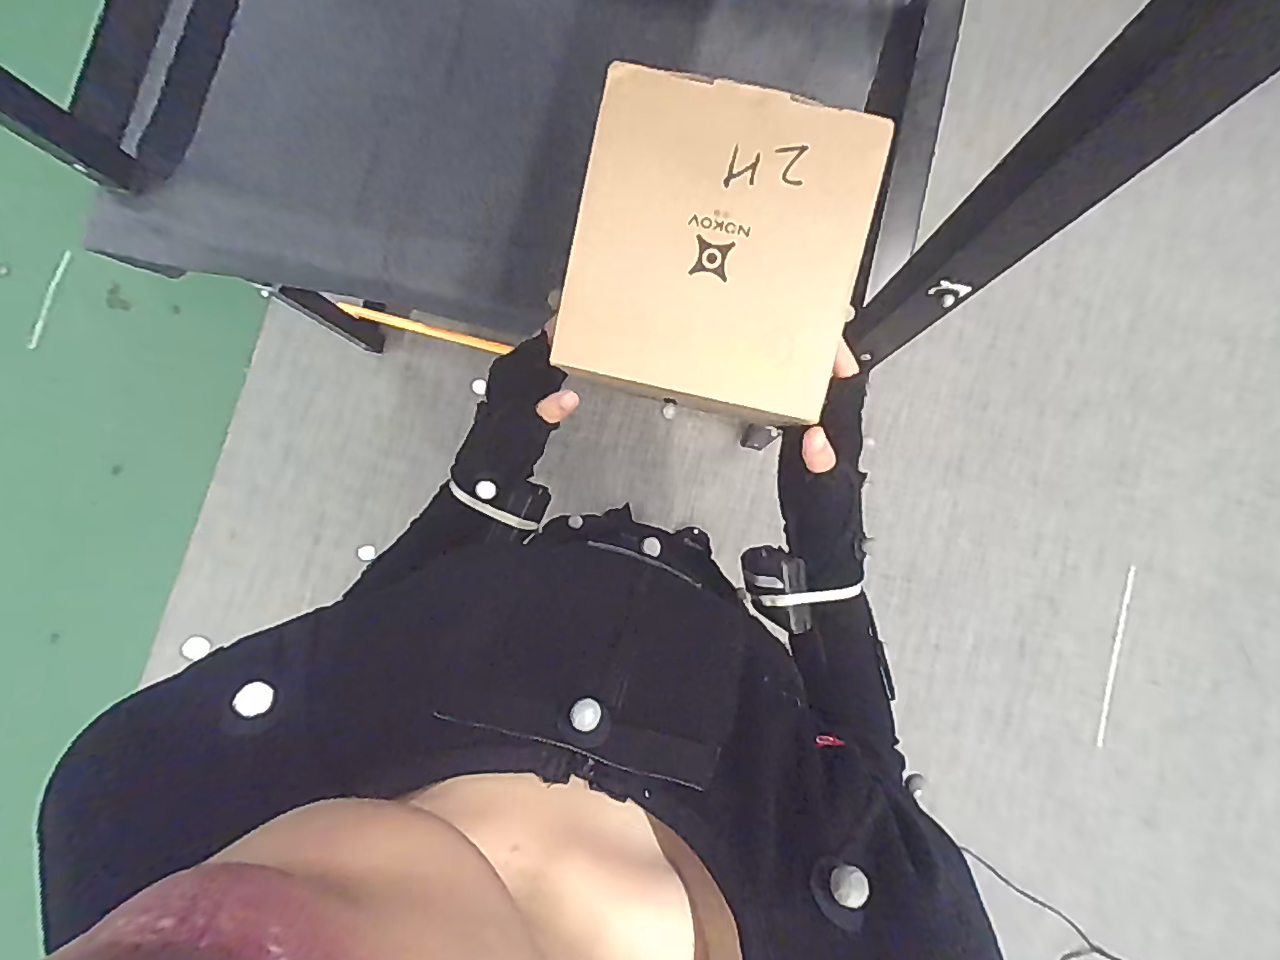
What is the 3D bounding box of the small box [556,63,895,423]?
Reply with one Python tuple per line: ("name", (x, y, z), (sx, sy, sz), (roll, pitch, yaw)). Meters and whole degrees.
("small box", (0.051, -0.144, 0.394), (0.168, 0.176, 0.179), (13, 96, 1))
